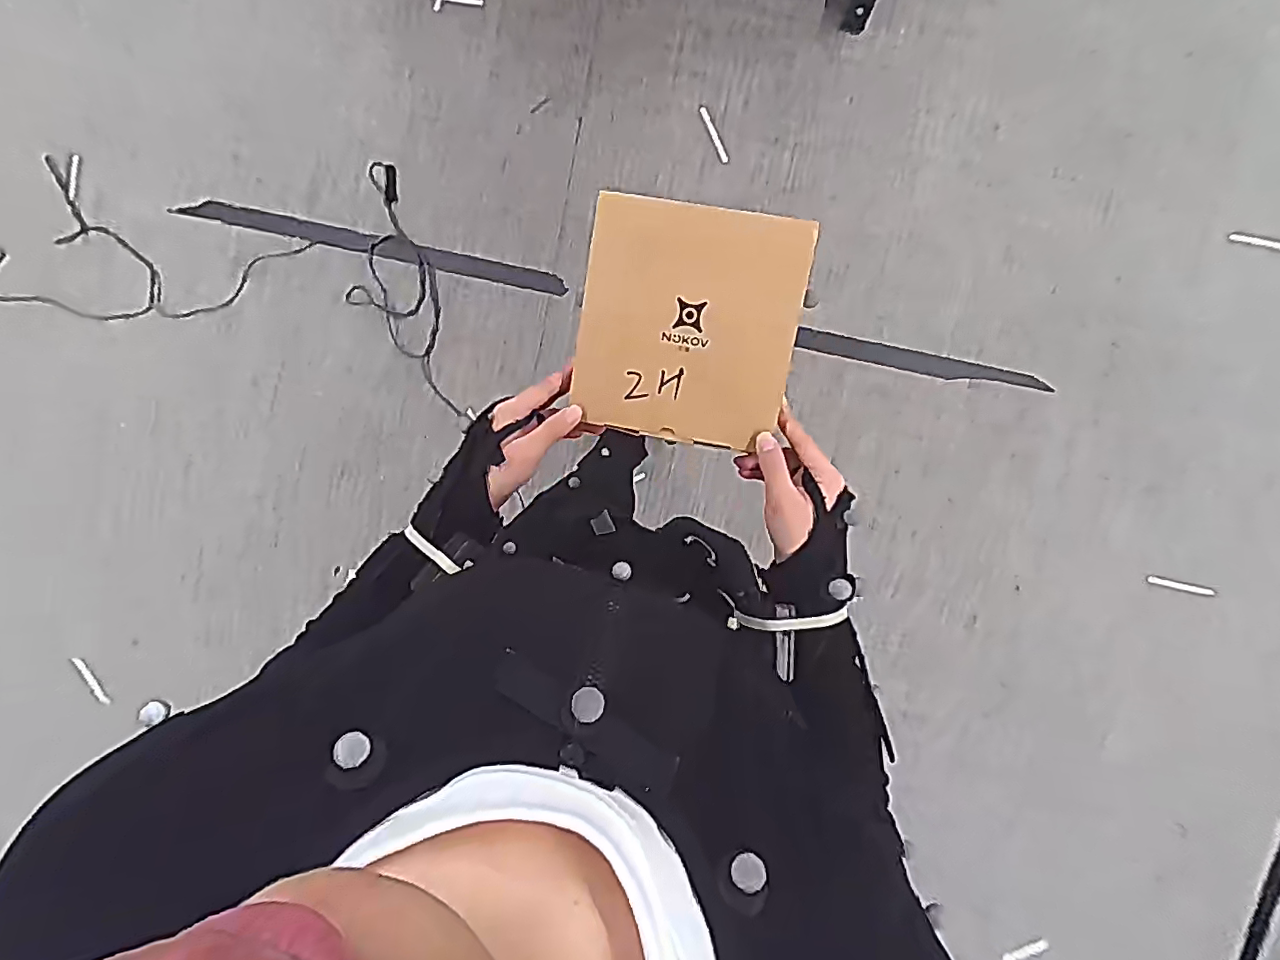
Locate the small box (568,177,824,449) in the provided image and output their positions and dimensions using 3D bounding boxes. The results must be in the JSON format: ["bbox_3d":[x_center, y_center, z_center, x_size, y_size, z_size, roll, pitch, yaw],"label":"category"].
[{"bbox_3d":[0.046,-0.136,0.484,0.168,0.176,0.179,12,101,5],"label":"small box"}]
